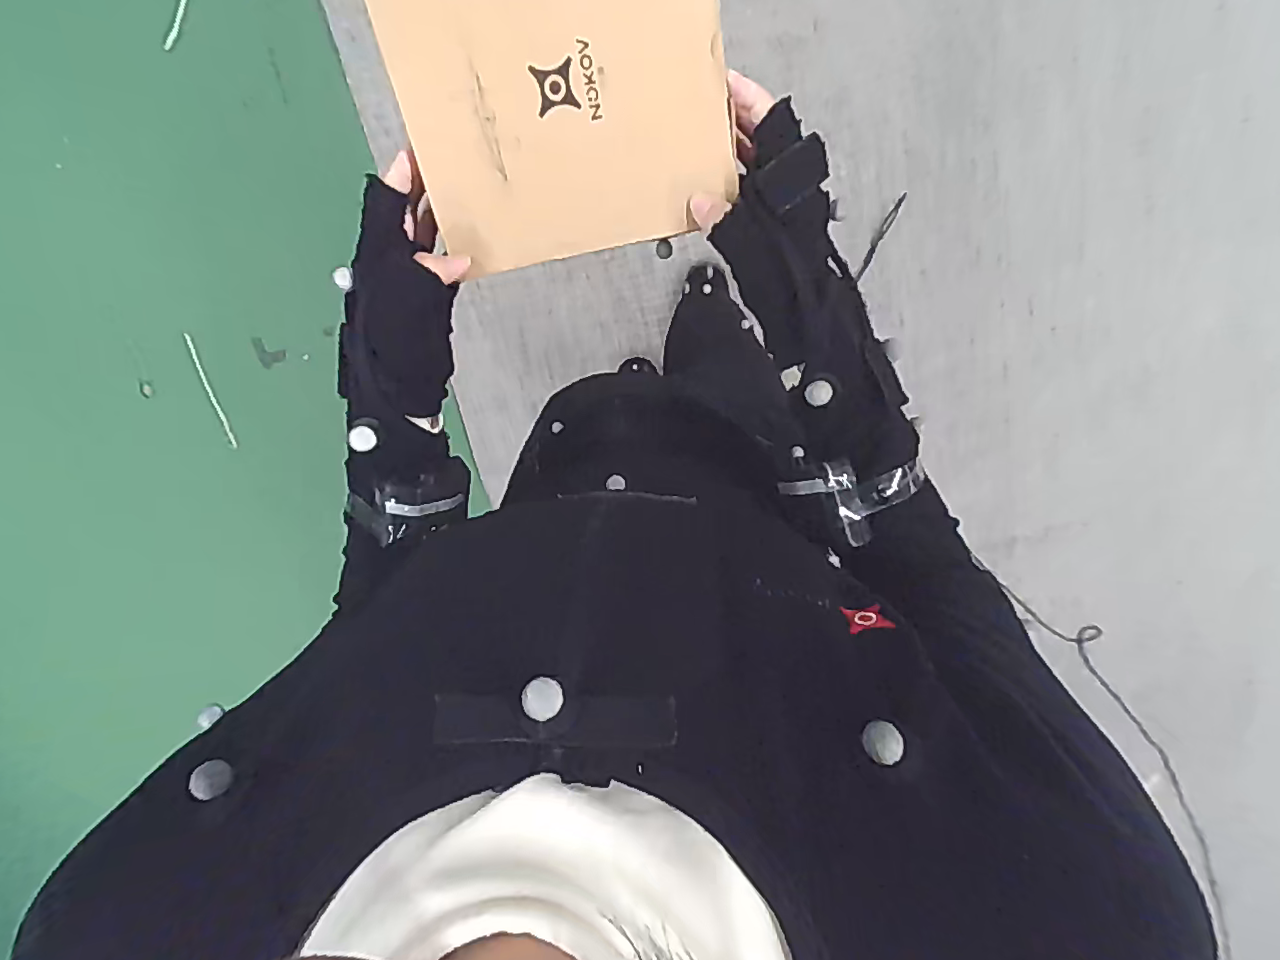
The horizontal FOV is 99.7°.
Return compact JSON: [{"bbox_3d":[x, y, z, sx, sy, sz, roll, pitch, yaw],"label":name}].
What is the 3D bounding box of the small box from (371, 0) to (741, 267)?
[{"bbox_3d":[-0.042,-0.249,0.359,0.179,0.176,0.168,-11,114,5],"label":"small box"}]
